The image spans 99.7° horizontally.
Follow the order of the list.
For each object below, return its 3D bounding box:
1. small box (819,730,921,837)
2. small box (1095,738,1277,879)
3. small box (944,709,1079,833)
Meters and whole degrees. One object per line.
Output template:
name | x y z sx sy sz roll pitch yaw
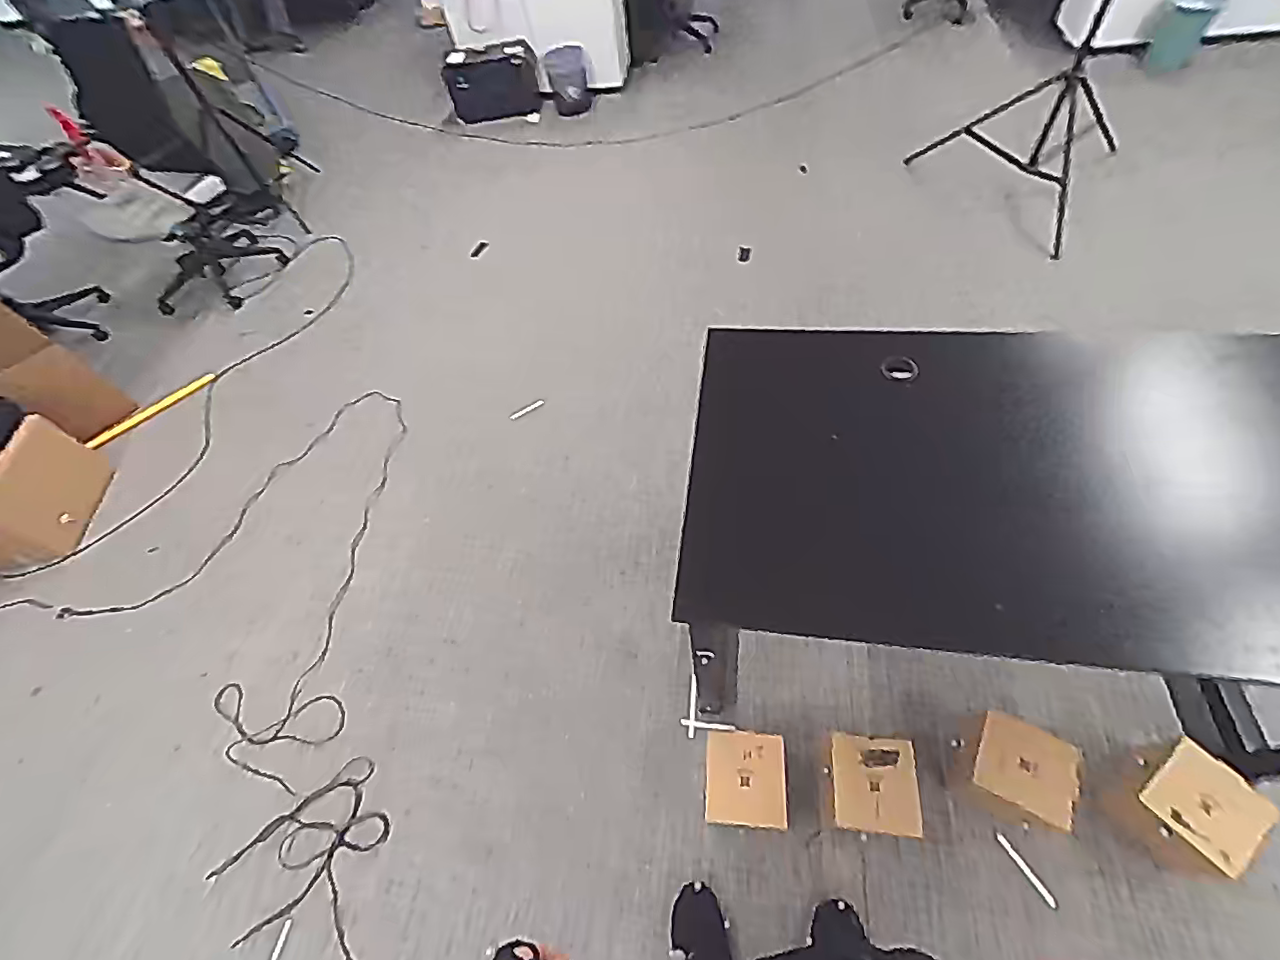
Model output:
small box | 0.489 0.661 1.176 0.168 0.176 0.179 3 58 10
small box | 1.080 0.657 1.088 0.179 0.176 0.168 -36 58 -15
small box | 0.787 0.623 1.158 0.179 0.176 0.168 22 61 22
